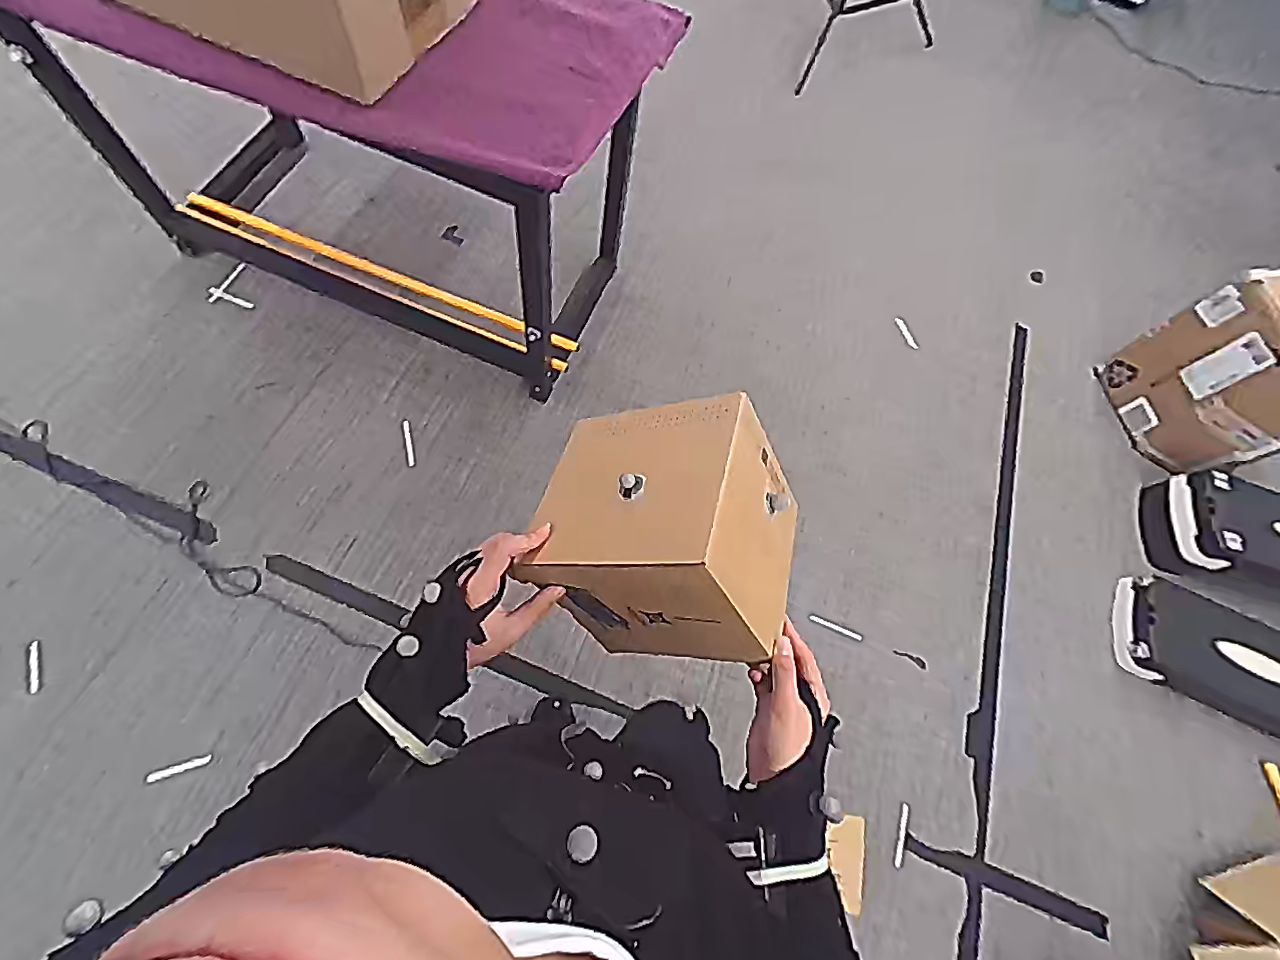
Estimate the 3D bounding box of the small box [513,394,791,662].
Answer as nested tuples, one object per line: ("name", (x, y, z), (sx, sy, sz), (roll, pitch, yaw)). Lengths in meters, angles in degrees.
("small box", (0.024, 0.045, 0.490), (0.179, 0.168, 0.176), (-7, 49, 31))
